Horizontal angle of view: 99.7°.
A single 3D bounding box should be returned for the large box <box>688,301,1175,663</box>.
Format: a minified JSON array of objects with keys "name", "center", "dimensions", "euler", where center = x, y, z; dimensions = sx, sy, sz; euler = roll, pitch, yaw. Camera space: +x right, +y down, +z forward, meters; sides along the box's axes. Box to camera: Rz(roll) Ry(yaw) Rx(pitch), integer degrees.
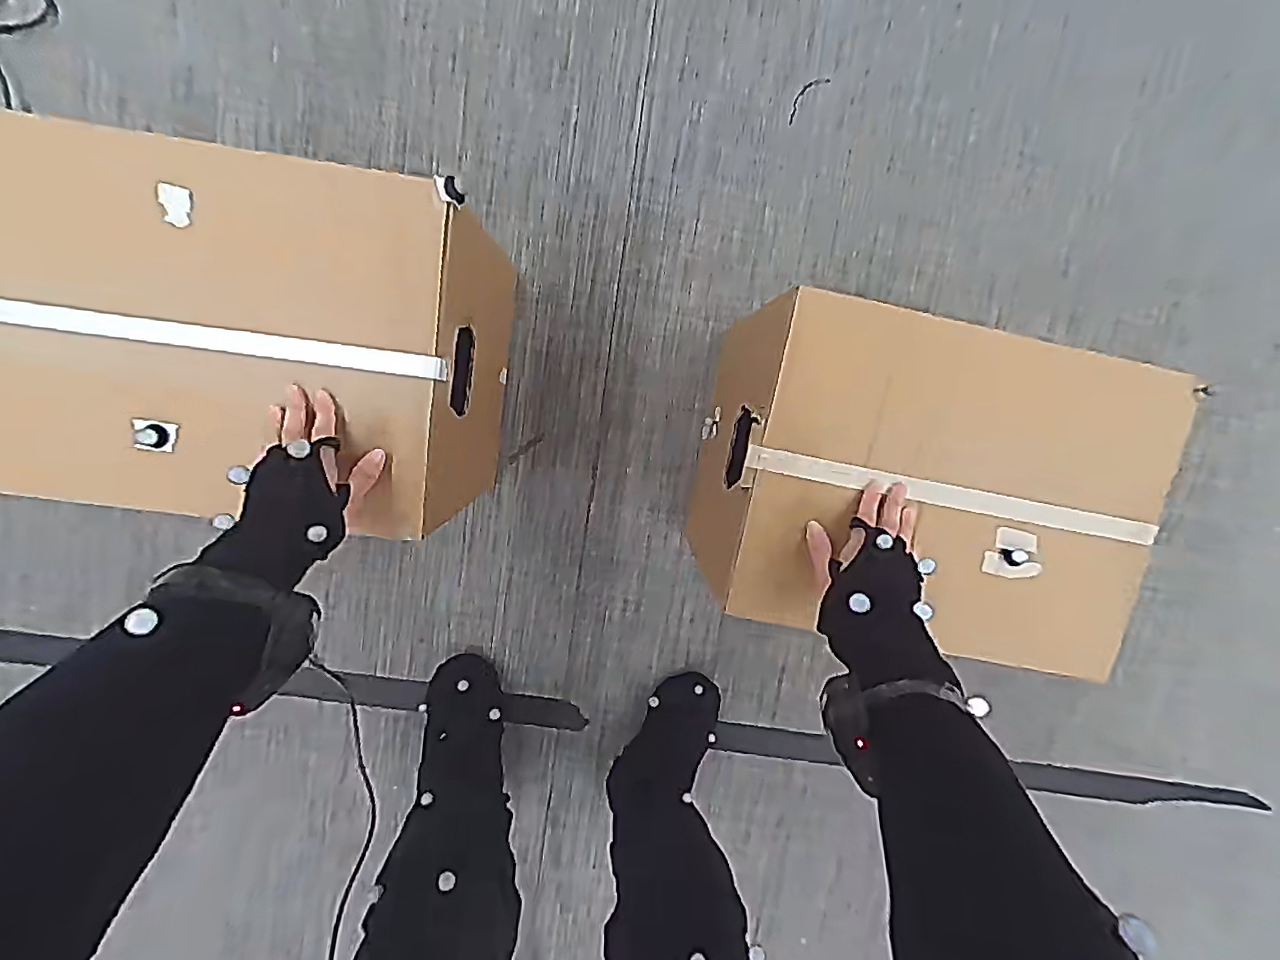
[{"name":"large box","center":[0.299,-0.006,0.683],"dimensions":[0.408,0.320,0.320],"euler":[11,98,-5]}]
